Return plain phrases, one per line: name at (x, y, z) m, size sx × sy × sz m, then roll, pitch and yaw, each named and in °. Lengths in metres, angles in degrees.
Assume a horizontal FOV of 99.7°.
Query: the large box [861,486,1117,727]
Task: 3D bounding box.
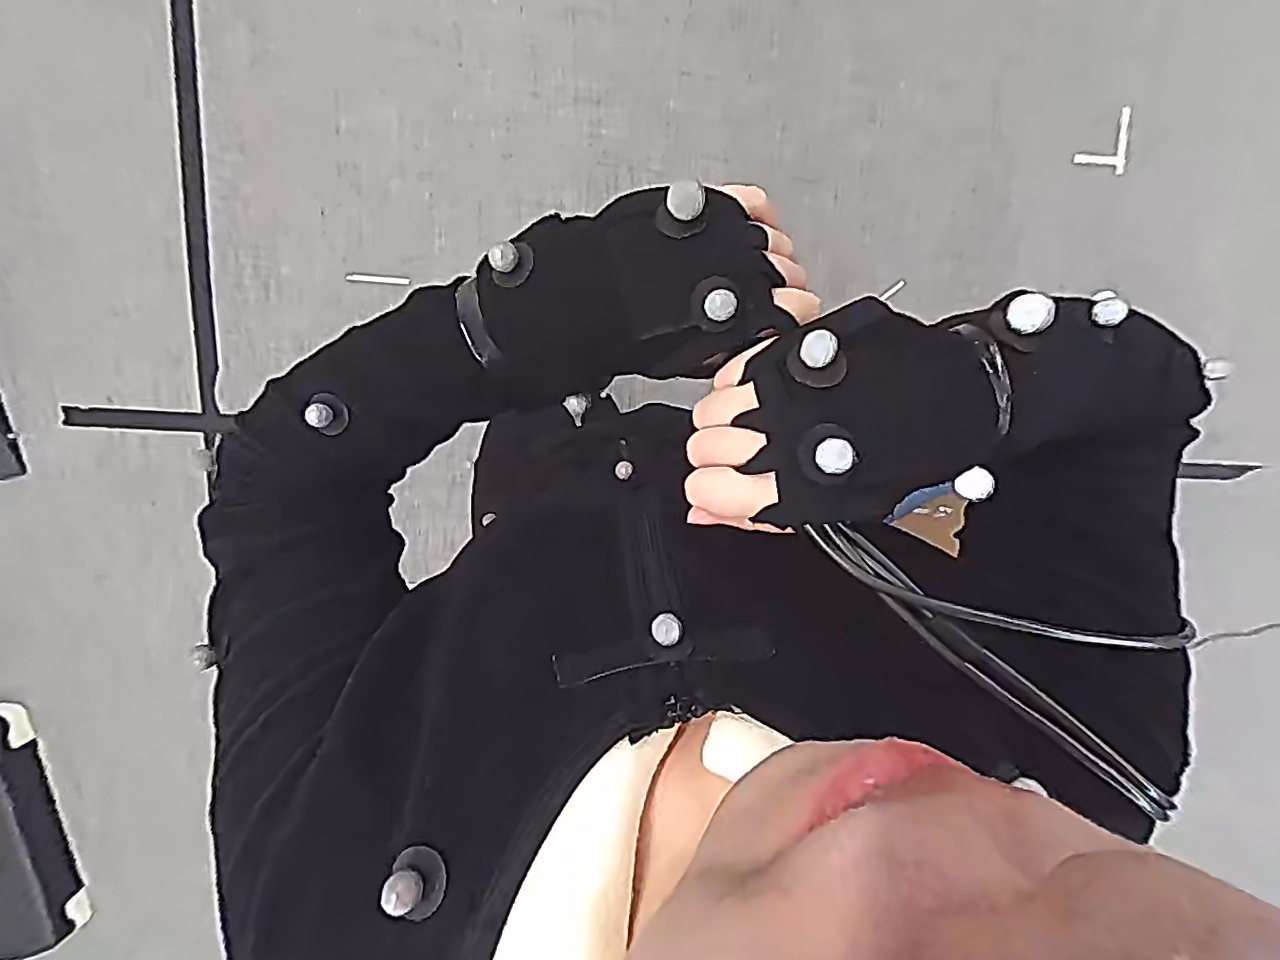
large box at (0.798, 0.273, 1.281) m, size 0.320 × 0.320 × 0.408 m, roll -26°, pitch 100°, yaw -2°
